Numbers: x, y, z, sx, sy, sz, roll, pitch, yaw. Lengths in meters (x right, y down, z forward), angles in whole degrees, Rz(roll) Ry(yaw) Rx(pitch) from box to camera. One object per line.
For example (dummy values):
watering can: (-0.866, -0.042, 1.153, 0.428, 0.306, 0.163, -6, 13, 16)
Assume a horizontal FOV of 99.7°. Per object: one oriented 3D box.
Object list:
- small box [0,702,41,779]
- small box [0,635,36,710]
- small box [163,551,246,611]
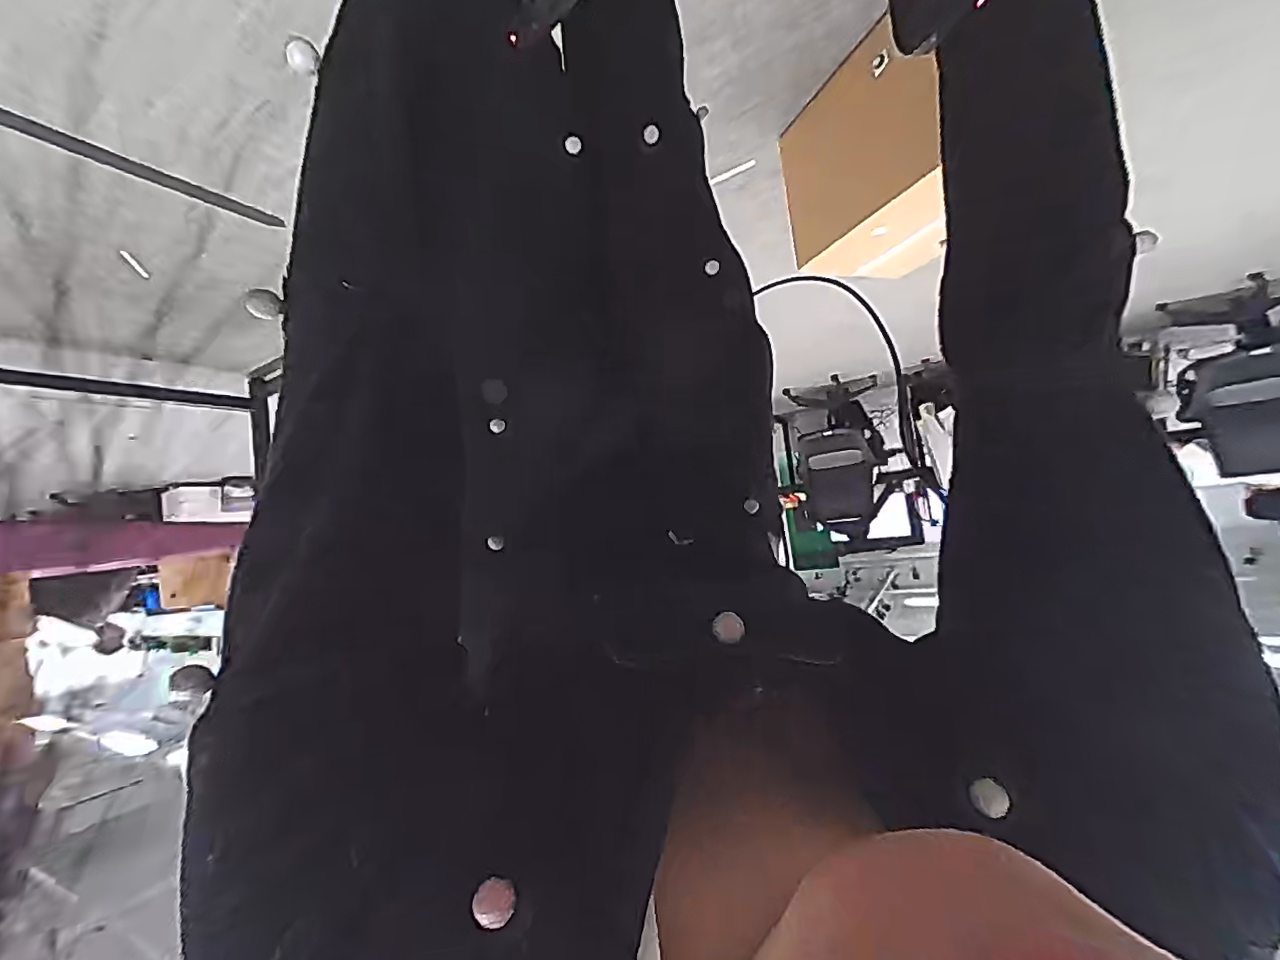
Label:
small box: (-1.650, 0.657, 1.351, 0.168, 0.176, 0.179, -10, 176, 34)
small box: (-1.664, 0.494, 1.357, 0.168, 0.176, 0.179, -9, 176, 34)
small box: (-1.449, 0.331, 1.793, 0.179, 0.176, 0.168, -9, 176, 29)
